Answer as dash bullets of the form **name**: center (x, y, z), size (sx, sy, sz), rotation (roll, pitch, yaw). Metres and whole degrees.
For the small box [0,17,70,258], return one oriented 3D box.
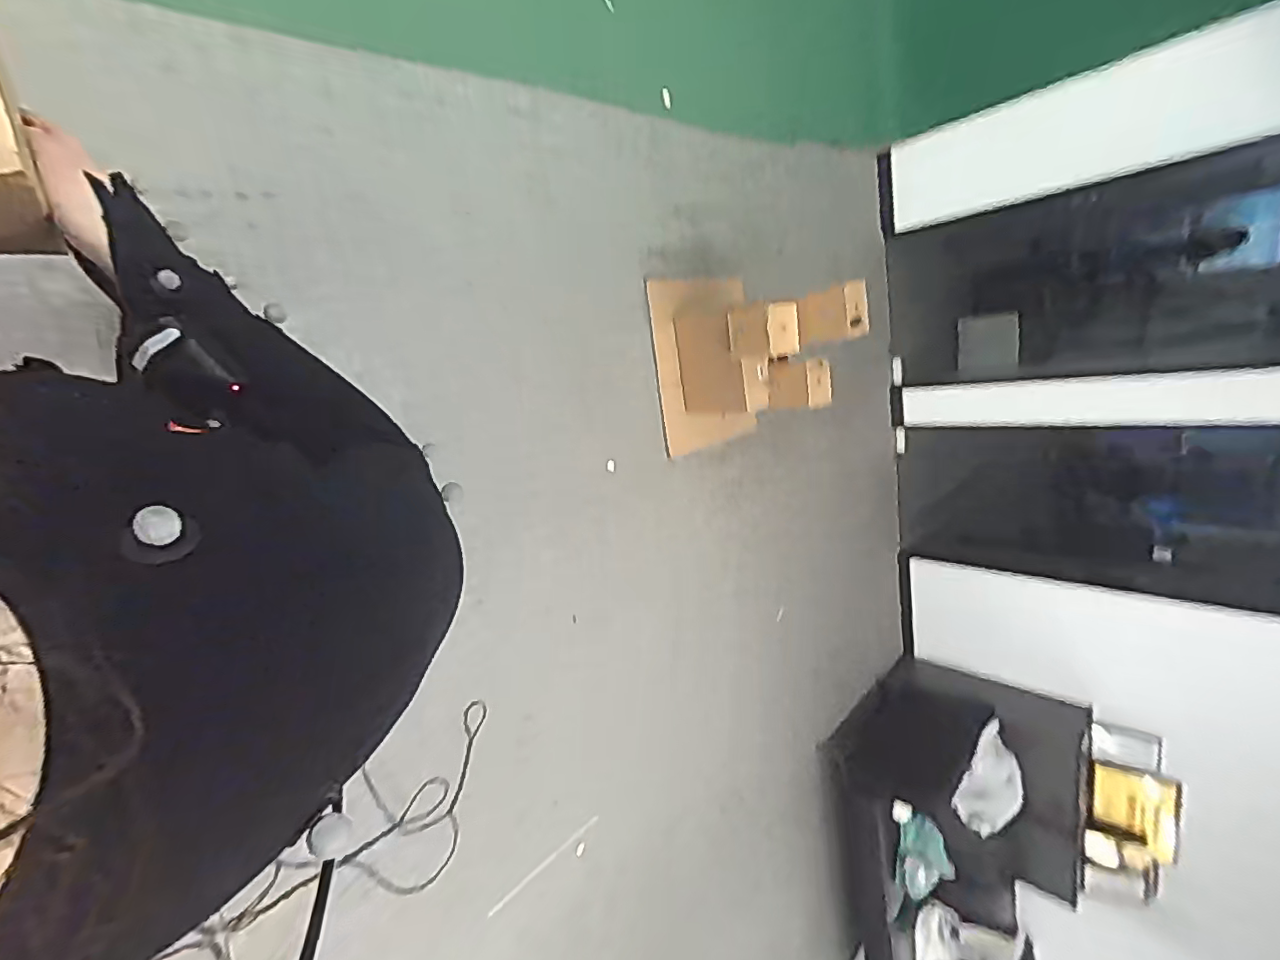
- **small box**: center (-0.465, -0.239, 0.300), size (0.168, 0.176, 0.179), rotation (-17, 105, -39)

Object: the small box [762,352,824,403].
- **small box**: center (0.586, -0.390, 2.076), size (0.168, 0.176, 0.179), rotation (-16, 102, -41)

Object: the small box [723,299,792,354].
- **small box**: center (0.413, -0.540, 1.901), size (0.179, 0.176, 0.168), rotation (-19, 107, -39)
